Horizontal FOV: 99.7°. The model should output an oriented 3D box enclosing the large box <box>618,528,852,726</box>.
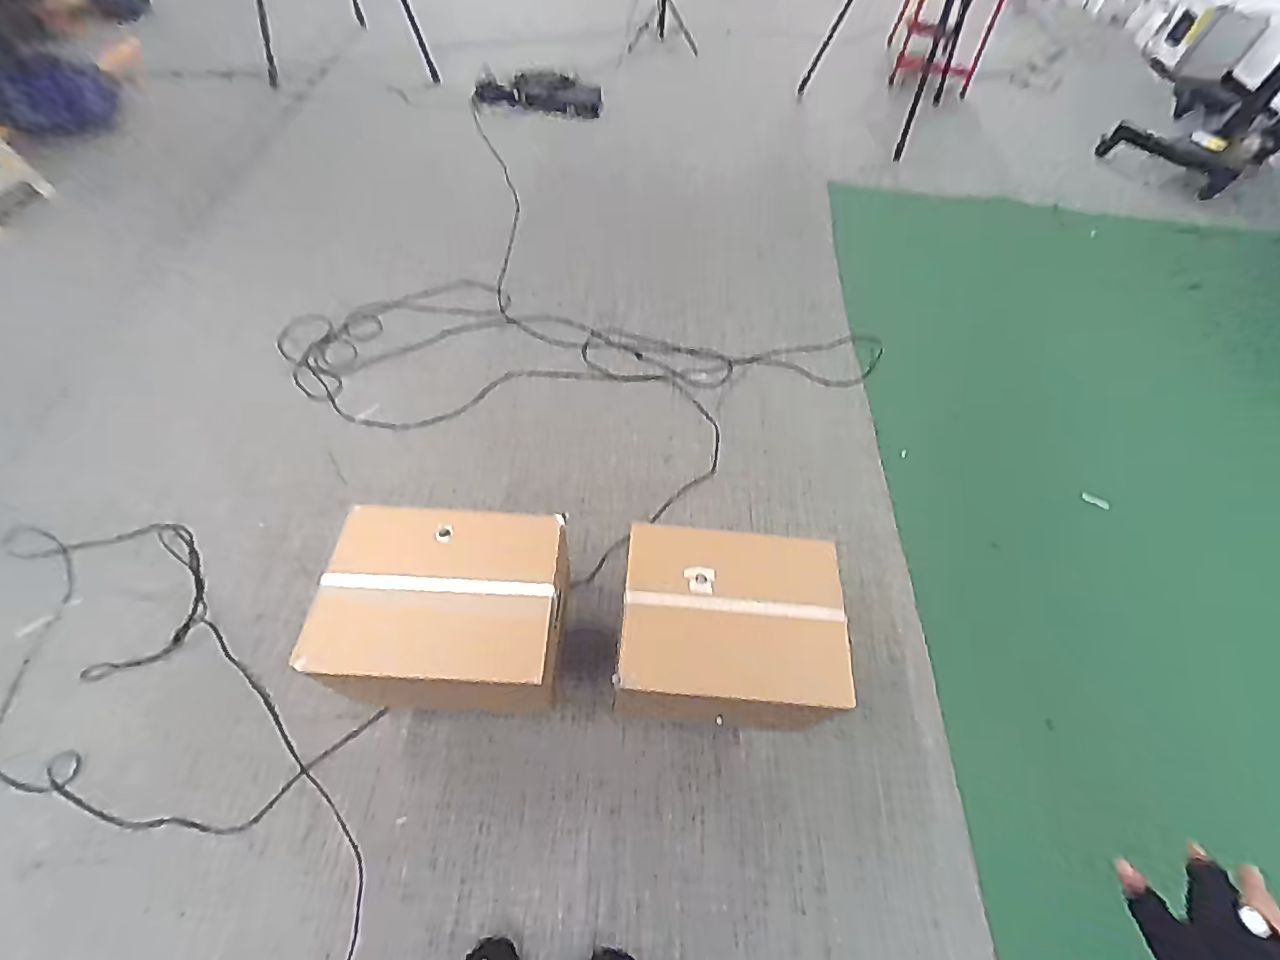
[{"bbox_3d":[0.171,0.318,1.126,0.408,0.320,0.320,6,58,0],"label":"large box"}]
